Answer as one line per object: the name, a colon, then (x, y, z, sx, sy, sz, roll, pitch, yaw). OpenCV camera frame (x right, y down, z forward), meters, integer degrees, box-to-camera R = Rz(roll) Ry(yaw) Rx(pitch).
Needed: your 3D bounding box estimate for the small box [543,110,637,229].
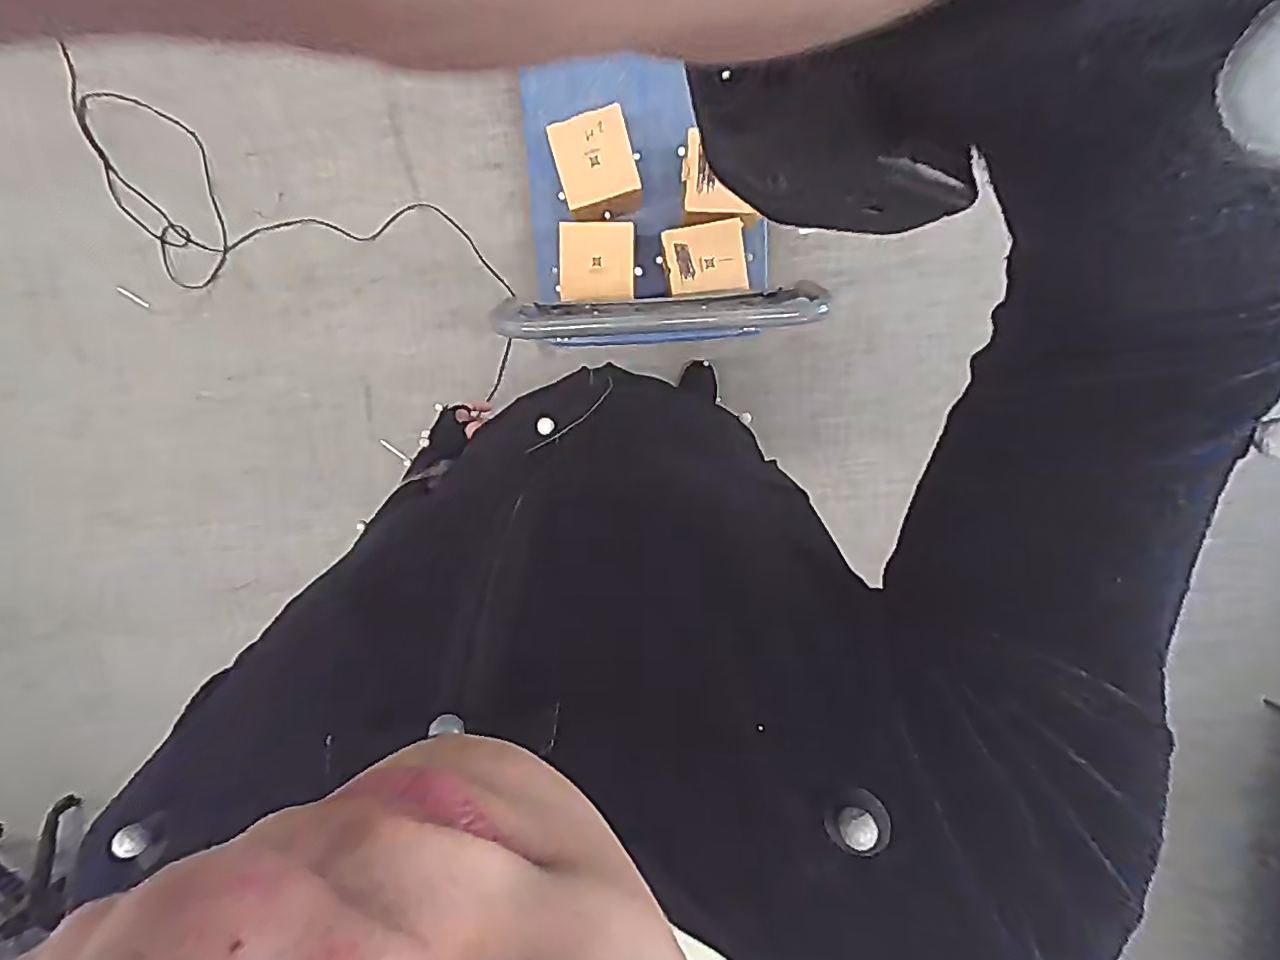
small box: (-0.105, -0.693, 1.235, 0.168, 0.176, 0.179, -16, 100, 3)
